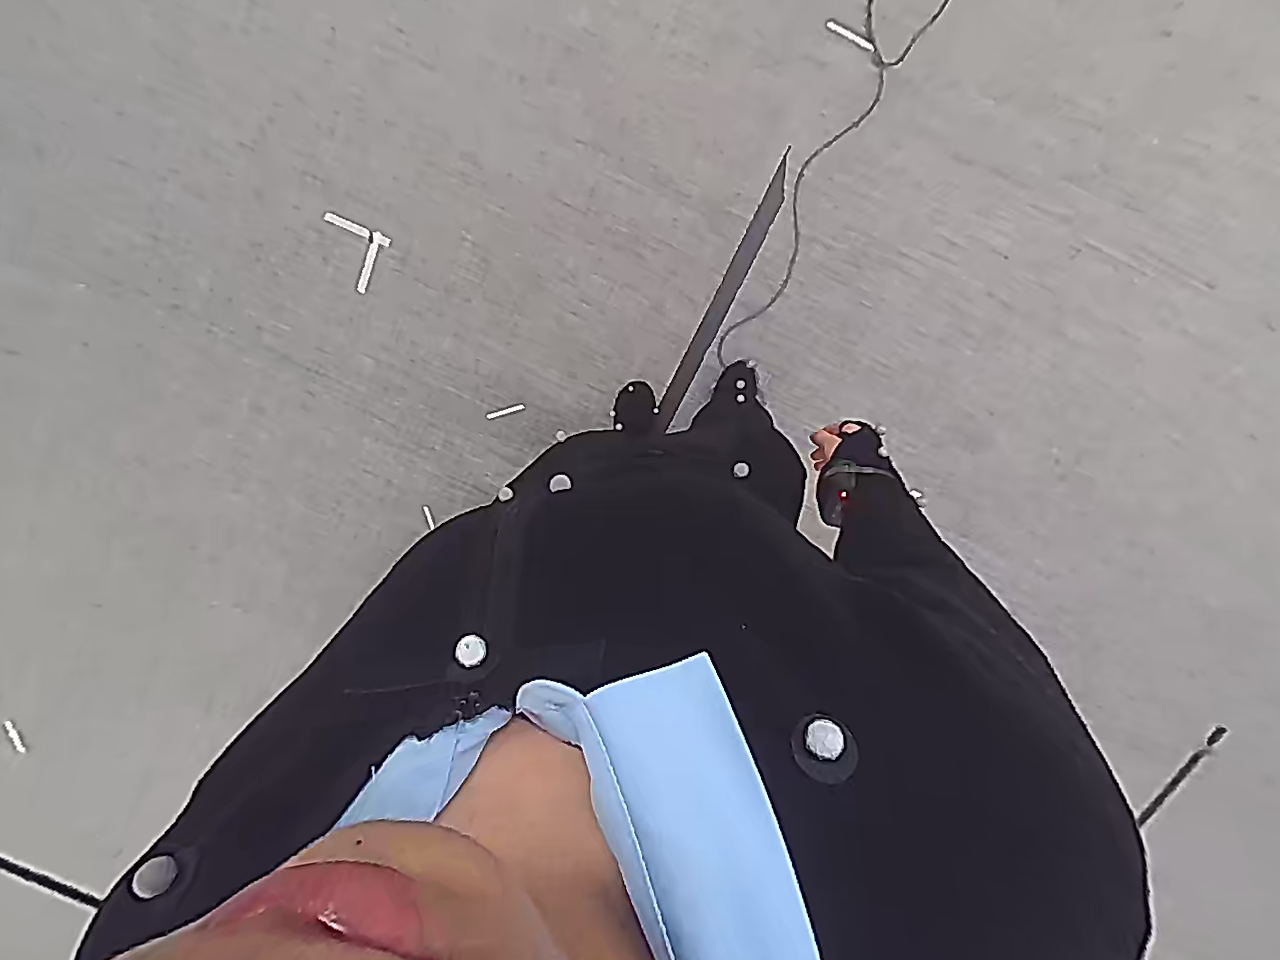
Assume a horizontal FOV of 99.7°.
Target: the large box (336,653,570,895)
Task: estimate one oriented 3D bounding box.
[{"bbox_3d":[-0.429,0.691,1.320,0.408,0.320,0.320,25,101,-4],"label":"large box"}]
